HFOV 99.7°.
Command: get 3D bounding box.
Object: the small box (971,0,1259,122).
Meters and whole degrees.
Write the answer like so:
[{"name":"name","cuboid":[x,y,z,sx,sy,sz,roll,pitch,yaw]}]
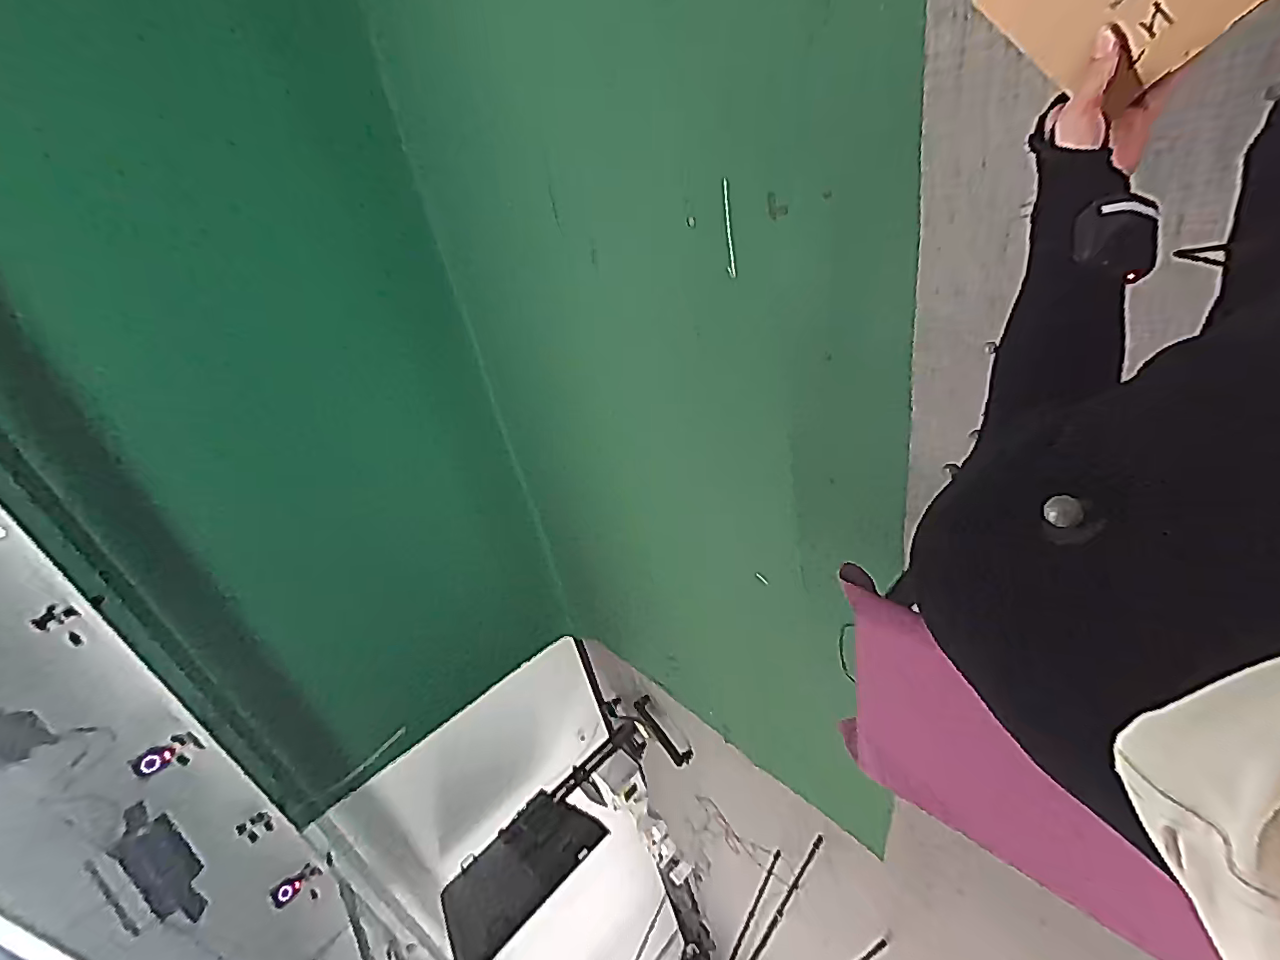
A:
[{"name":"small box","cuboid":[0.432,-0.462,0.445,0.179,0.176,0.168,42,171,-4]}]
